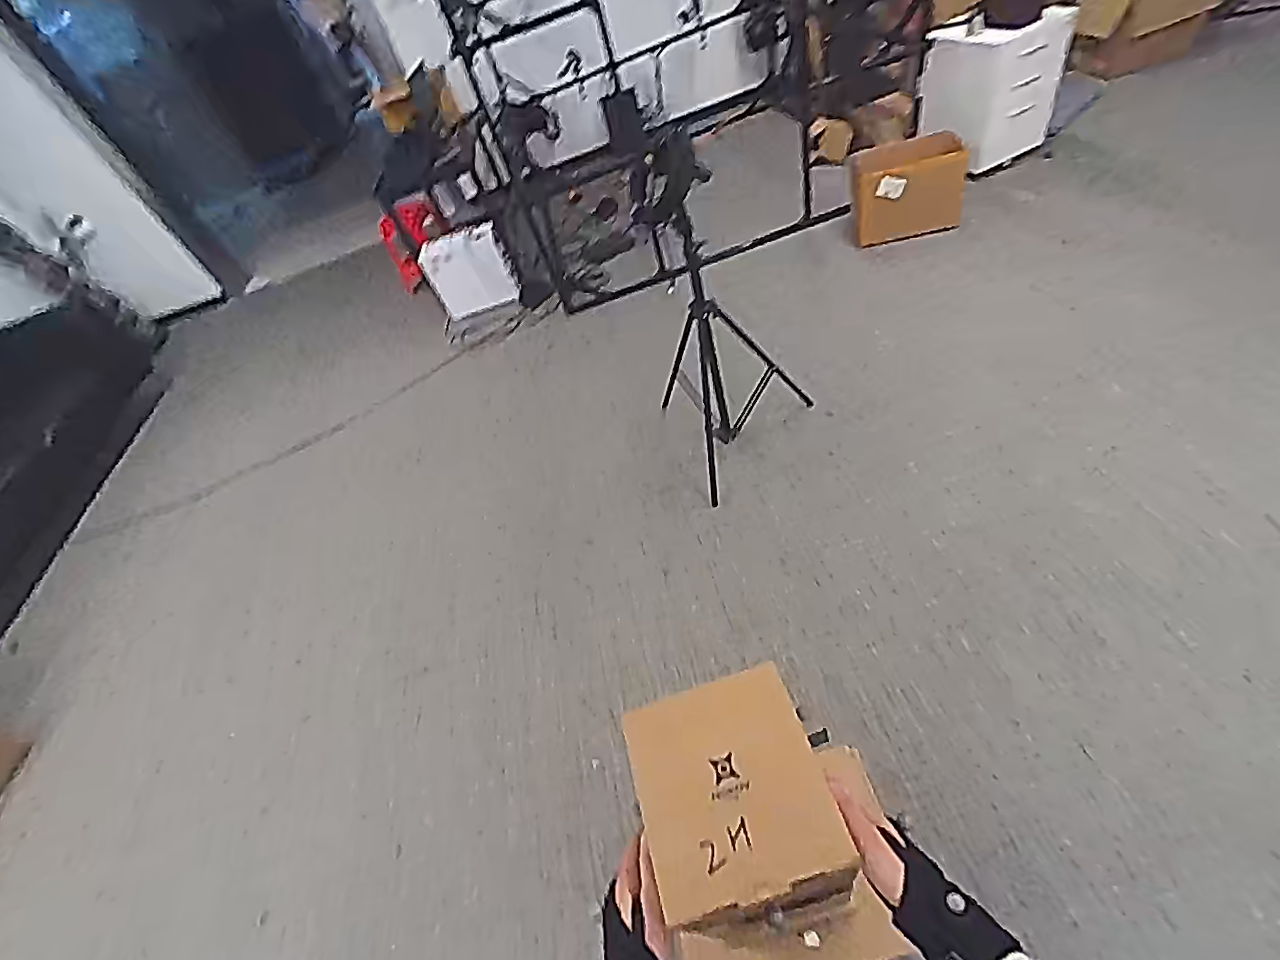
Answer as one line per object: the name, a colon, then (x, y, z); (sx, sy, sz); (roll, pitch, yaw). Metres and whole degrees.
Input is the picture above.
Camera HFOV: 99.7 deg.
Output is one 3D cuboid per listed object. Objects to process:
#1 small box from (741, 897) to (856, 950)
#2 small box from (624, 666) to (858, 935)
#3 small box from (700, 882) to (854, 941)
small box: (0.234, 0.646, 0.889); (0.179, 0.176, 0.168); (-19, 47, 1)
small box: (0.097, 0.323, 0.544); (0.168, 0.176, 0.179); (-20, 46, 2)
small box: (0.140, 0.431, 0.662); (0.168, 0.176, 0.179); (-19, 47, 2)
